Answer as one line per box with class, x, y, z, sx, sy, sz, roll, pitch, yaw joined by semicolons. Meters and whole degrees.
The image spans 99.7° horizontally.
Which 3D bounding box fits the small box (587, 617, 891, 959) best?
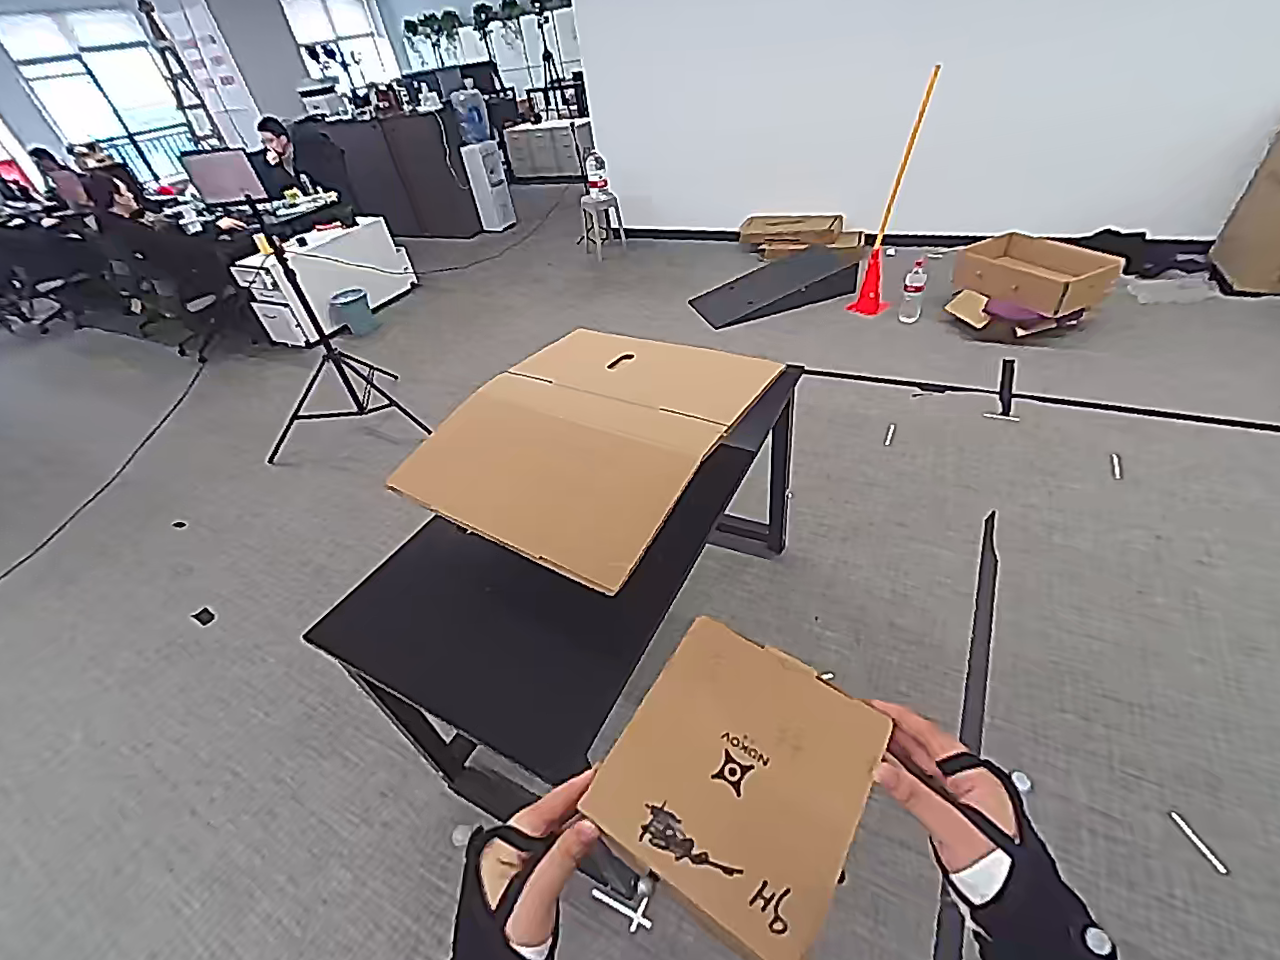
small box;0.079;0.256;0.450;0.168;0.176;0.179;24;54;26
